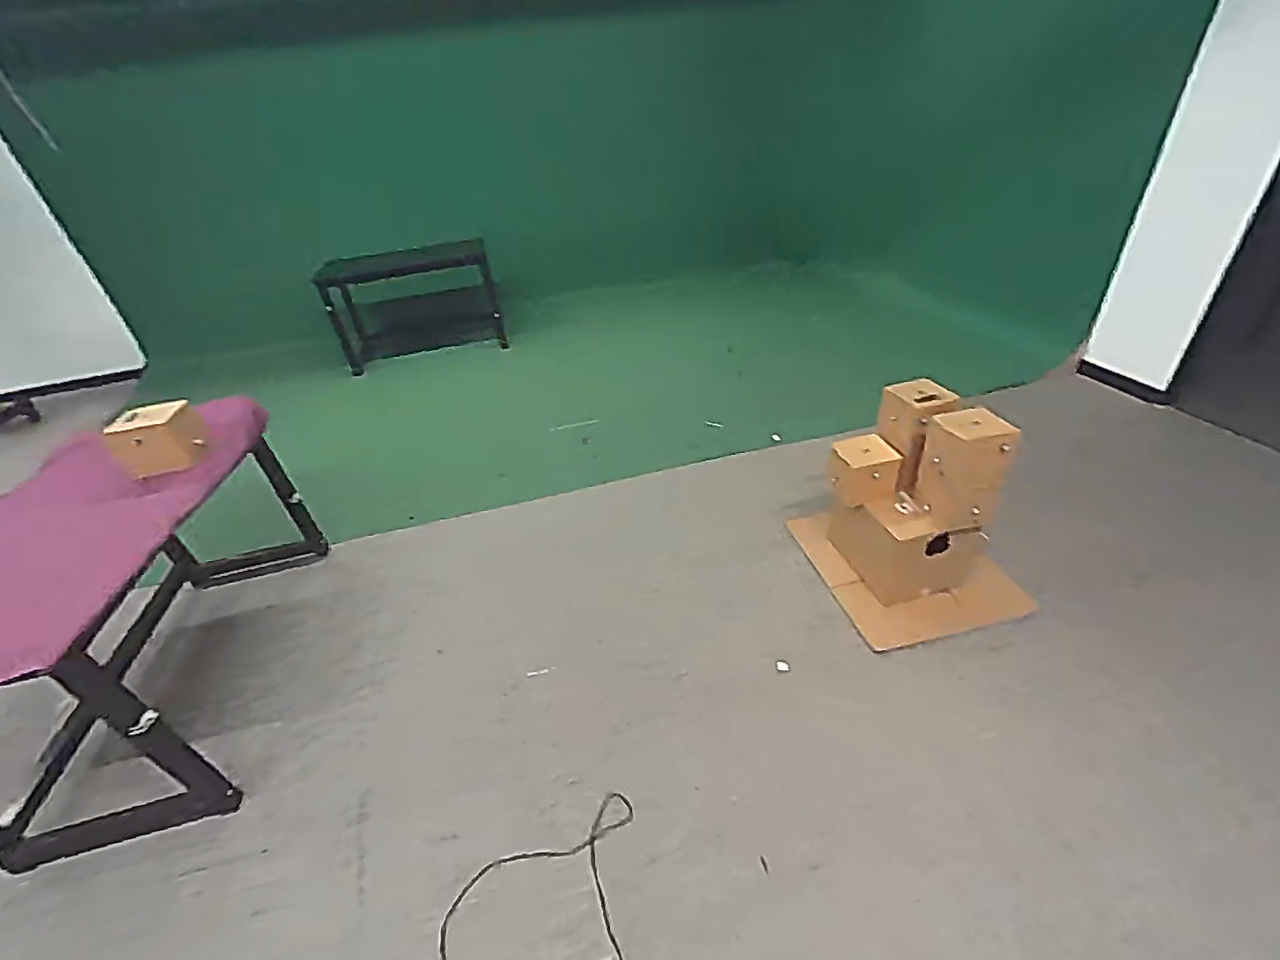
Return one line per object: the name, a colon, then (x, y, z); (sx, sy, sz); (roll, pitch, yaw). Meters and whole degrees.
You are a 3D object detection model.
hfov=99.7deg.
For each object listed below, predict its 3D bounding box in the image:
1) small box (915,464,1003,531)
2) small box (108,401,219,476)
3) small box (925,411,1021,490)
small box: (1.016, 0.049, 1.738); (0.168, 0.176, 0.179); (-10, 32, -4)
small box: (-1.514, -0.131, 1.733); (0.179, 0.176, 0.168); (-12, 36, -7)
small box: (1.002, -0.089, 1.644); (0.179, 0.176, 0.168); (-10, 32, -4)
